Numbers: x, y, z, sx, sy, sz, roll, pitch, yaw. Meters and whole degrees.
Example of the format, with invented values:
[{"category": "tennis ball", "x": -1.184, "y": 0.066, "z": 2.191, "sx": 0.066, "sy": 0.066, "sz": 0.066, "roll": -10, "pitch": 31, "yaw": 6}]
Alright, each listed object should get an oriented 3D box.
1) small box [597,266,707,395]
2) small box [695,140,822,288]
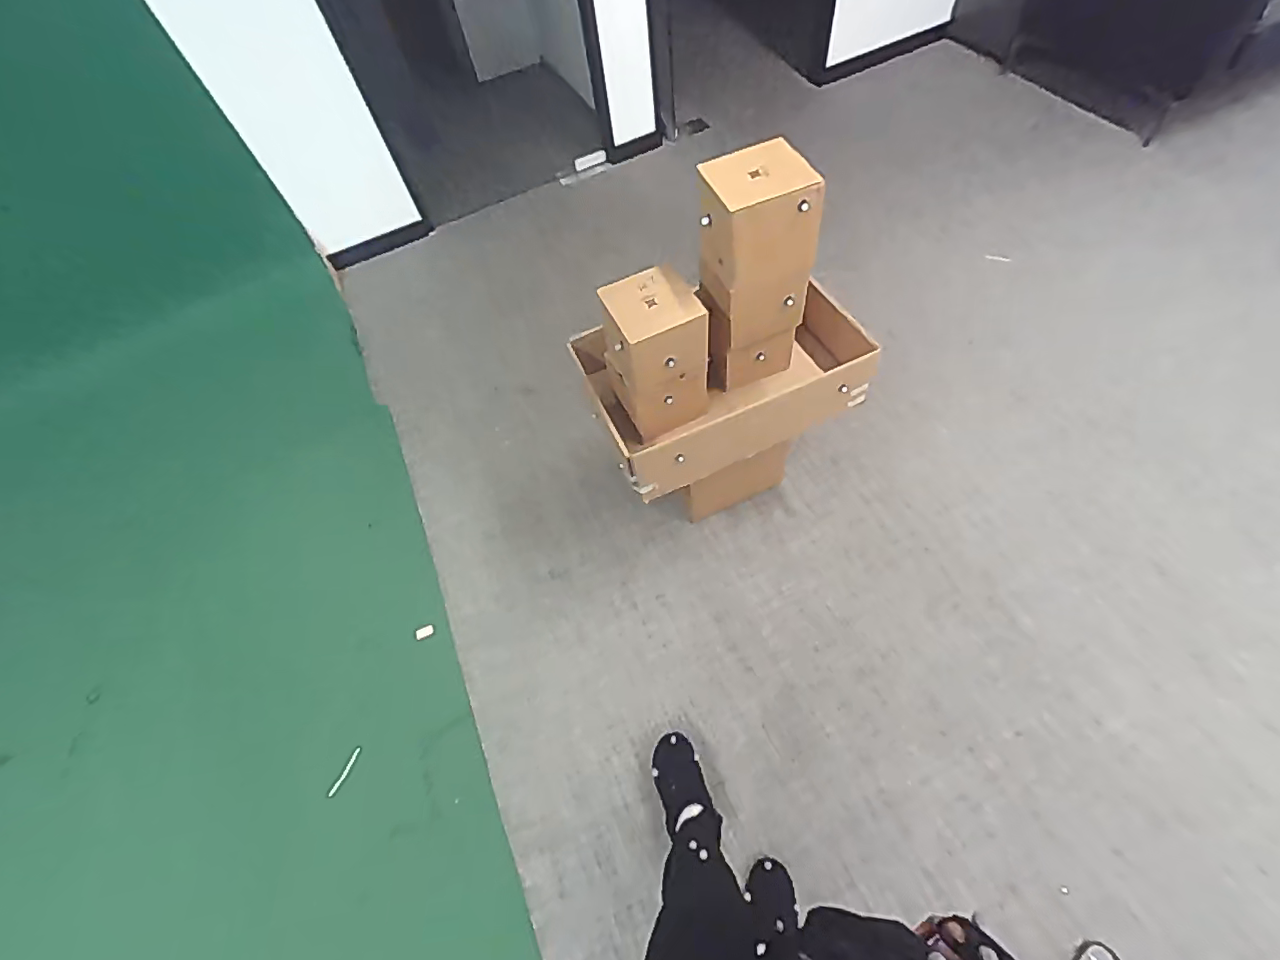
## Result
[{"category": "small box", "x": 0.029, "y": -0.298, "z": 1.115, "sx": 0.168, "sy": 0.176, "sz": 0.179, "roll": -24, "pitch": 59, "yaw": -7}, {"category": "small box", "x": 0.218, "y": -0.494, "z": 1.020, "sx": 0.179, "sy": 0.176, "sz": 0.168, "roll": -20, "pitch": 58, "yaw": -3}]
